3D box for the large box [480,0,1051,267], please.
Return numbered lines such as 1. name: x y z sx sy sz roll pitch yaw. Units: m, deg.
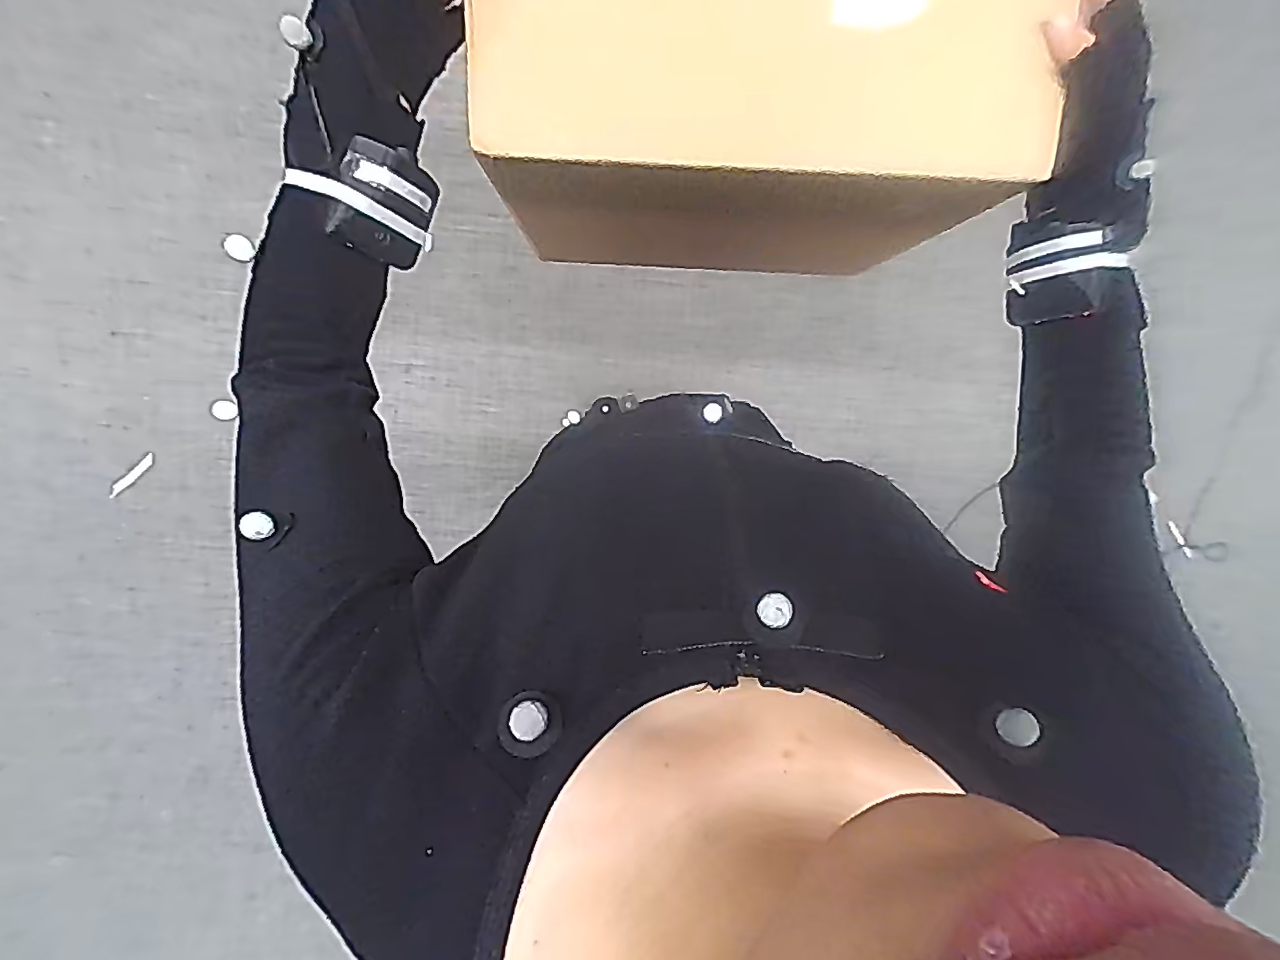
1. large box: 0.082 -0.400 0.511 0.408 0.320 0.320 1 99 -3
